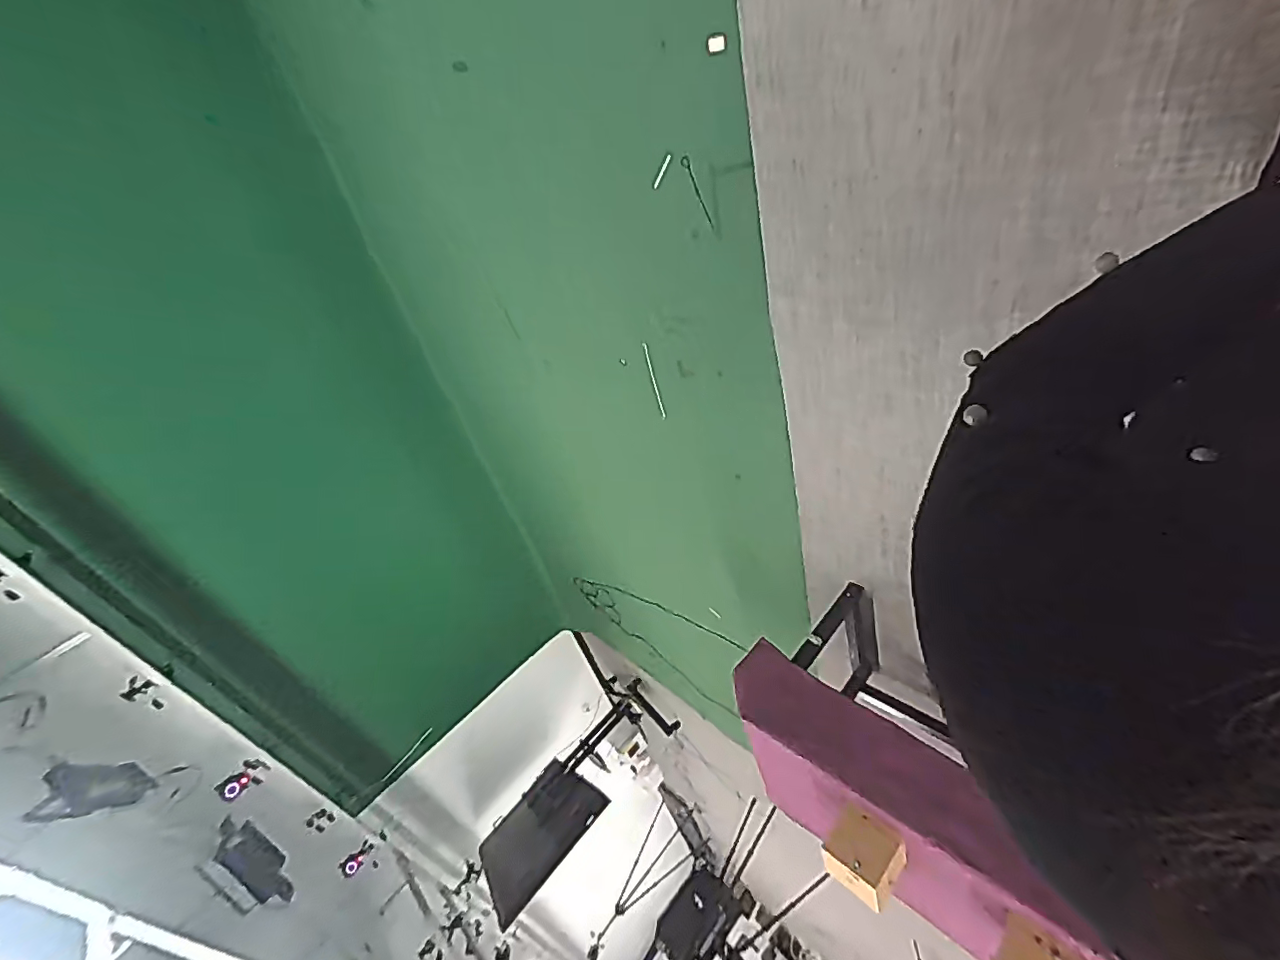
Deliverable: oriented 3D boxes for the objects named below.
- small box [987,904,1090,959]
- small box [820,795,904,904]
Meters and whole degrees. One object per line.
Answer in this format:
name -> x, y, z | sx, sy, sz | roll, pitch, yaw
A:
small box -> 0.932, 1.162, 1.275 | 0.168, 0.176, 0.179 | 19, 139, 44
small box -> 0.652, 1.071, 1.576 | 0.168, 0.176, 0.179 | 18, 139, 44
